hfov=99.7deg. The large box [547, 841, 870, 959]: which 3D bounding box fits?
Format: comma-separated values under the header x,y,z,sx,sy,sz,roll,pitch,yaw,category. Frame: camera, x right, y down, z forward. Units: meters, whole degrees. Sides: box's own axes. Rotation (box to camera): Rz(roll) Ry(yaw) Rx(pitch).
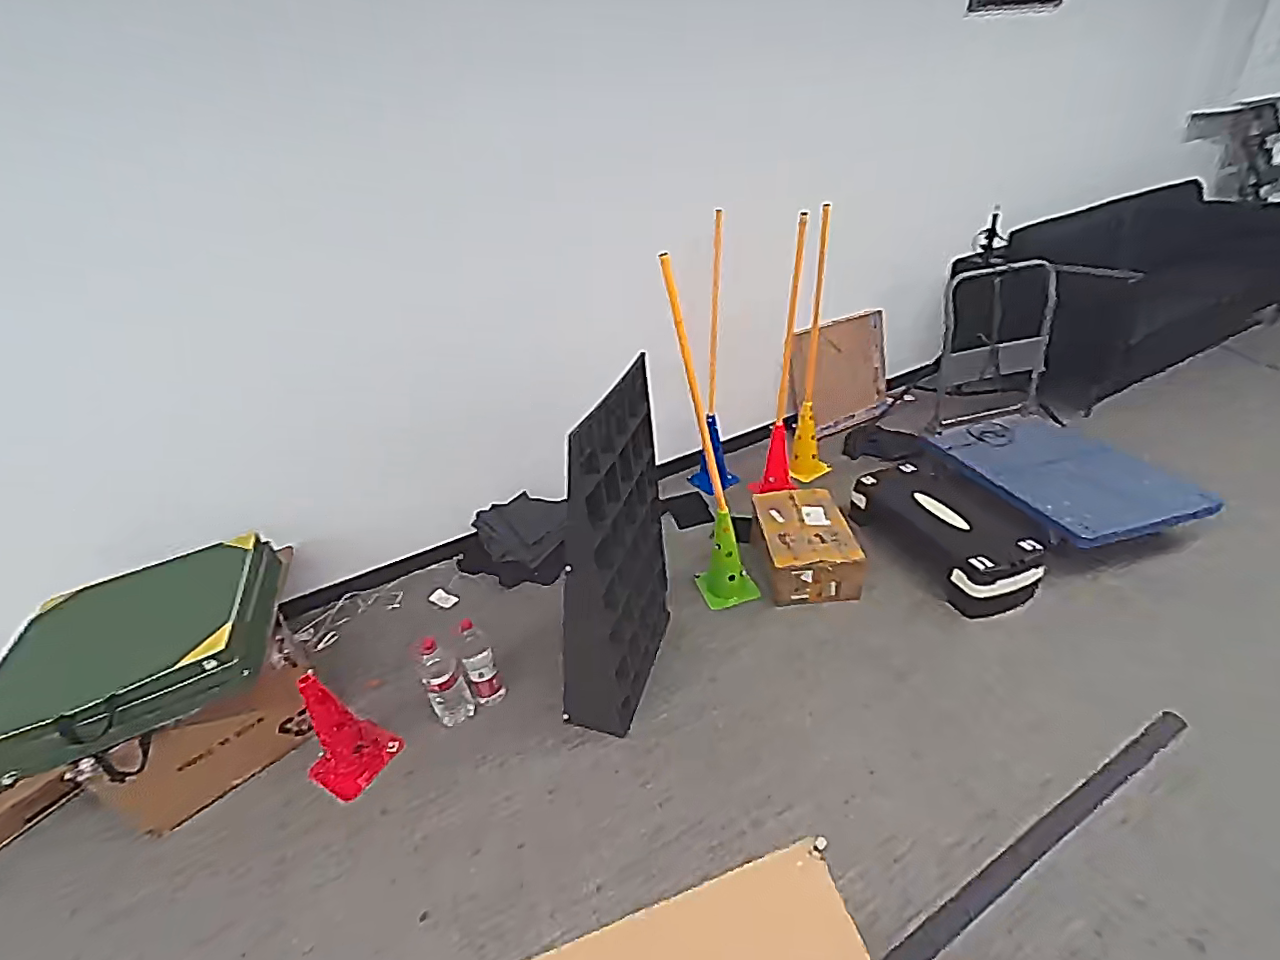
x,y,z,sx,sy,sz,roll,pitch,yaw,category
0.064,0.656,0.544,0.408,0.320,0.320,-17,43,-10,large box
